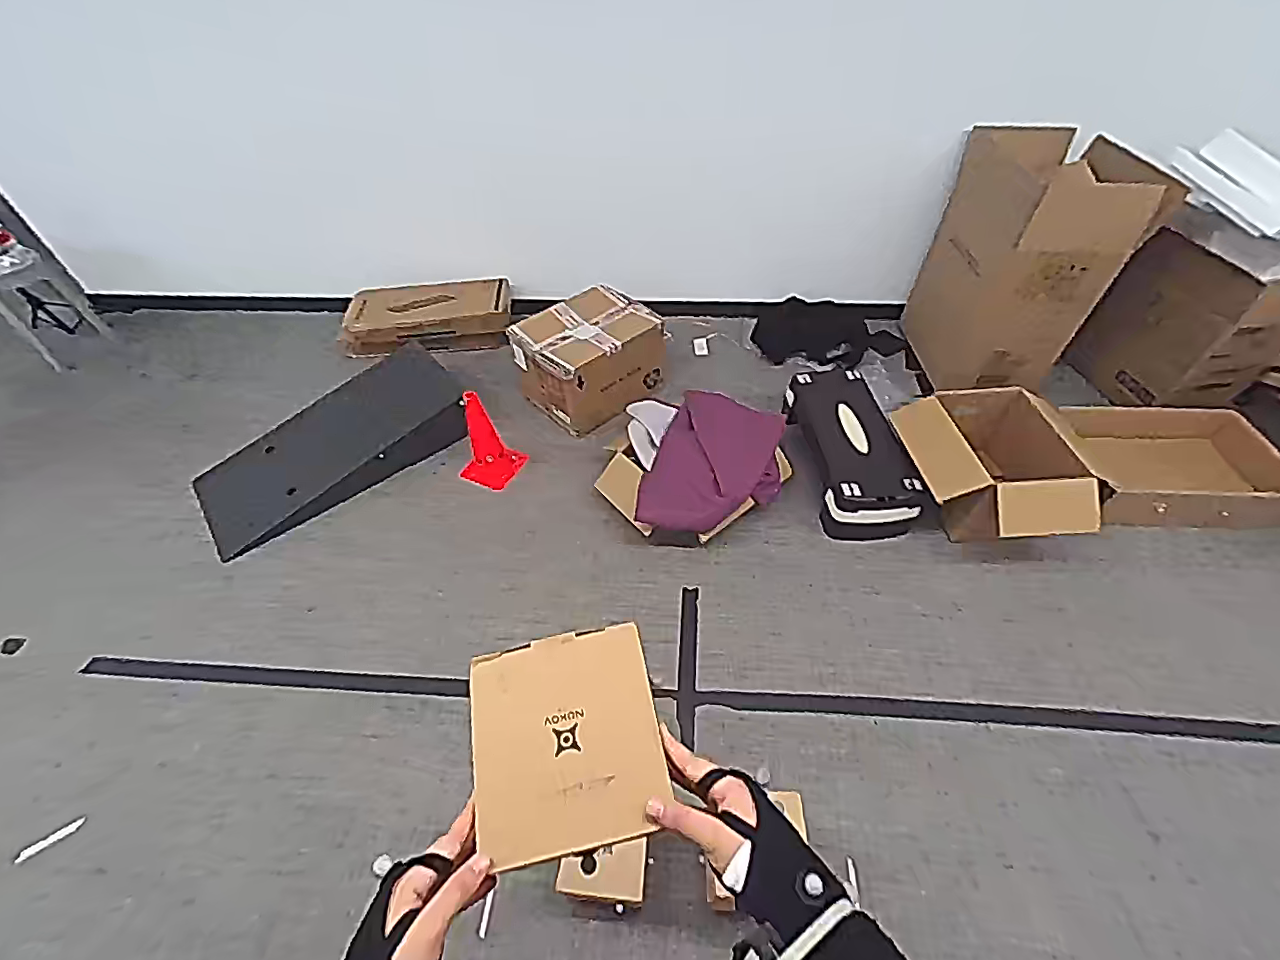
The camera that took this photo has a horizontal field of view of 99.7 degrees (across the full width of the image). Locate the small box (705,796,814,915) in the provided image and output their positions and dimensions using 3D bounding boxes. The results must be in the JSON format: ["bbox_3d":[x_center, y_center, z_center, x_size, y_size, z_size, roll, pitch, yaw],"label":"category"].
[{"bbox_3d":[0.217,0.723,1.039,0.179,0.176,0.168,1,48,2],"label":"small box"}]

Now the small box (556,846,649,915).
[{"bbox_3d":[-0.070,0.828,1.174,0.179,0.176,0.168,3,48,5],"label":"small box"}]

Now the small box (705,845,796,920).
[{"bbox_3d":[0.228,0.832,1.163,0.168,0.176,0.179,0,48,2],"label":"small box"}]

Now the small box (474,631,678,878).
[{"bbox_3d":[-0.062,0.279,0.548,0.168,0.176,0.179,-12,56,-4],"label":"small box"}]
